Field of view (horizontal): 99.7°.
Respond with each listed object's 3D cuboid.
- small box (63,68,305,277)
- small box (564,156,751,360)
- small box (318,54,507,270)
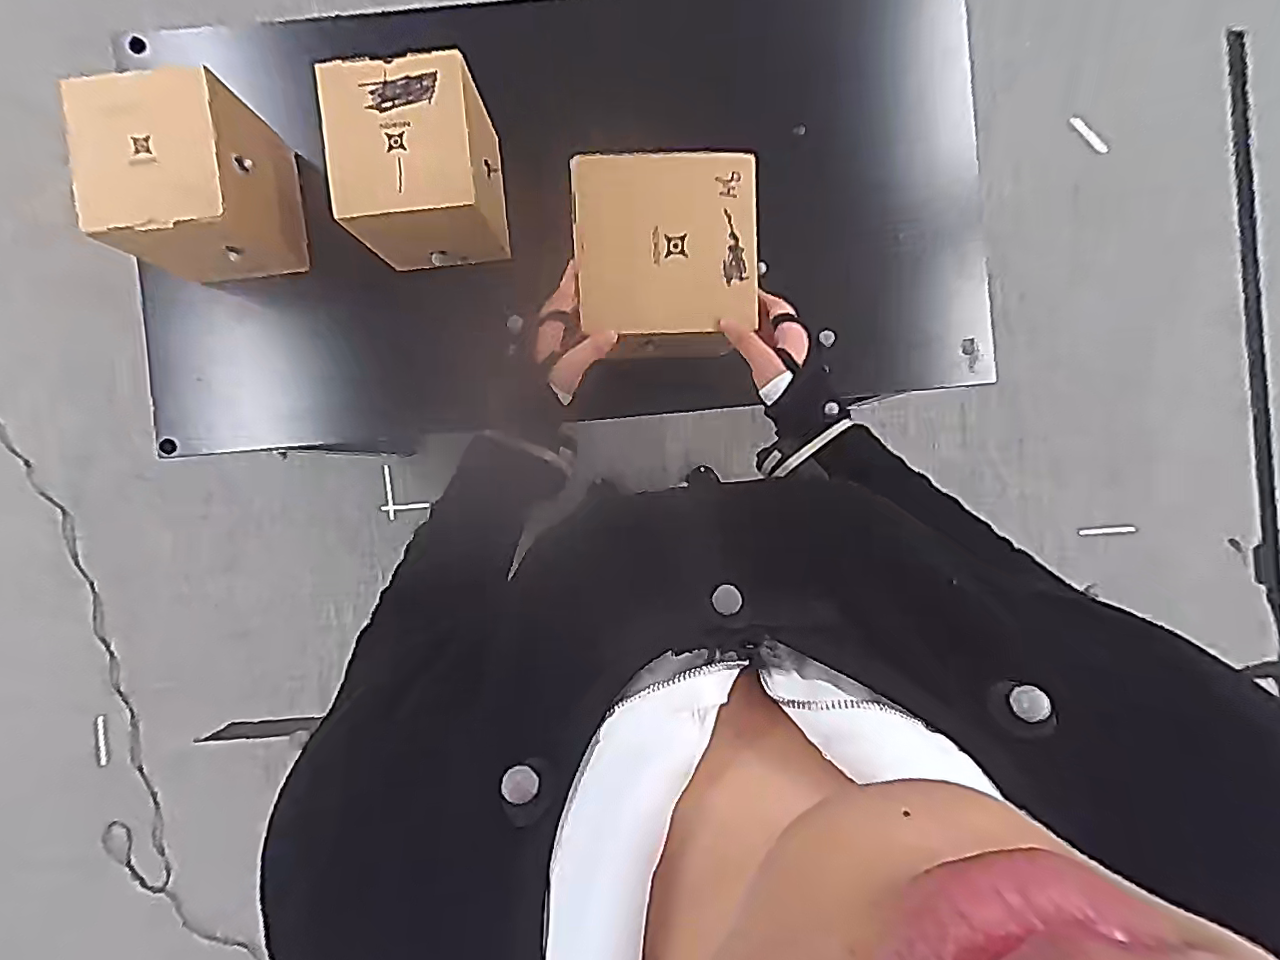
[{"bbox_3d":[-0.564,-0.375,0.695,0.168,0.176,0.179,-7,90,-1],"label":"small box"},{"bbox_3d":[0.016,-0.229,0.599,0.179,0.176,0.168,-3,94,-2],"label":"small box"},{"bbox_3d":[-0.277,-0.393,0.694,0.168,0.176,0.179,-6,92,0],"label":"small box"}]
